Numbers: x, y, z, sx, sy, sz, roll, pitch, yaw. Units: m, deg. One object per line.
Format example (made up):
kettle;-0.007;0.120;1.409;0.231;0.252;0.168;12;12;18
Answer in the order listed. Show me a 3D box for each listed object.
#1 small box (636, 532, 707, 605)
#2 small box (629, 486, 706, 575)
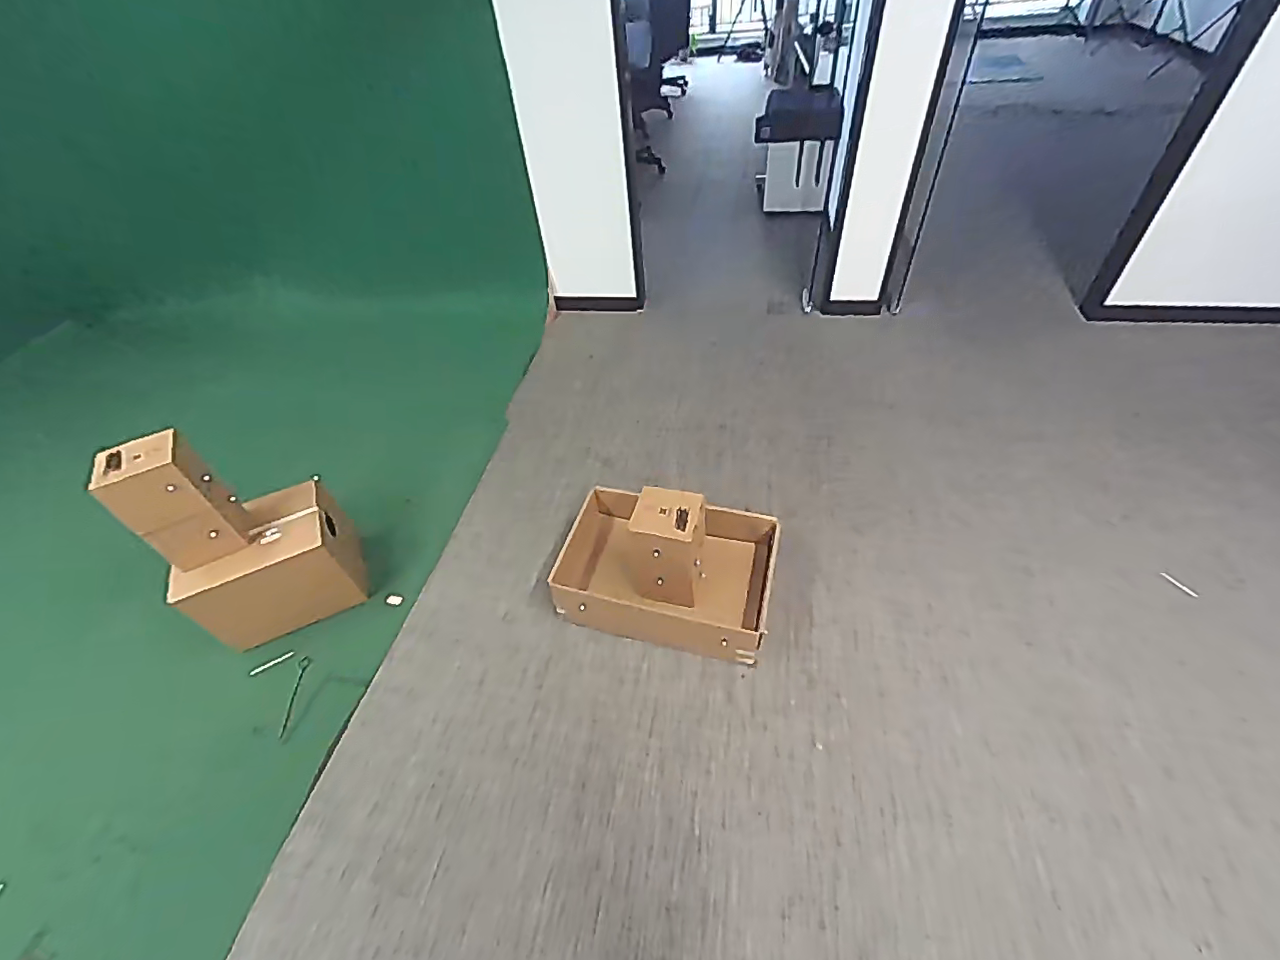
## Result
small box;0.100;0.252;1.616;0.179;0.176;0.168;9;49;15
small box;0.083;0.142;1.496;0.179;0.176;0.168;8;49;16
